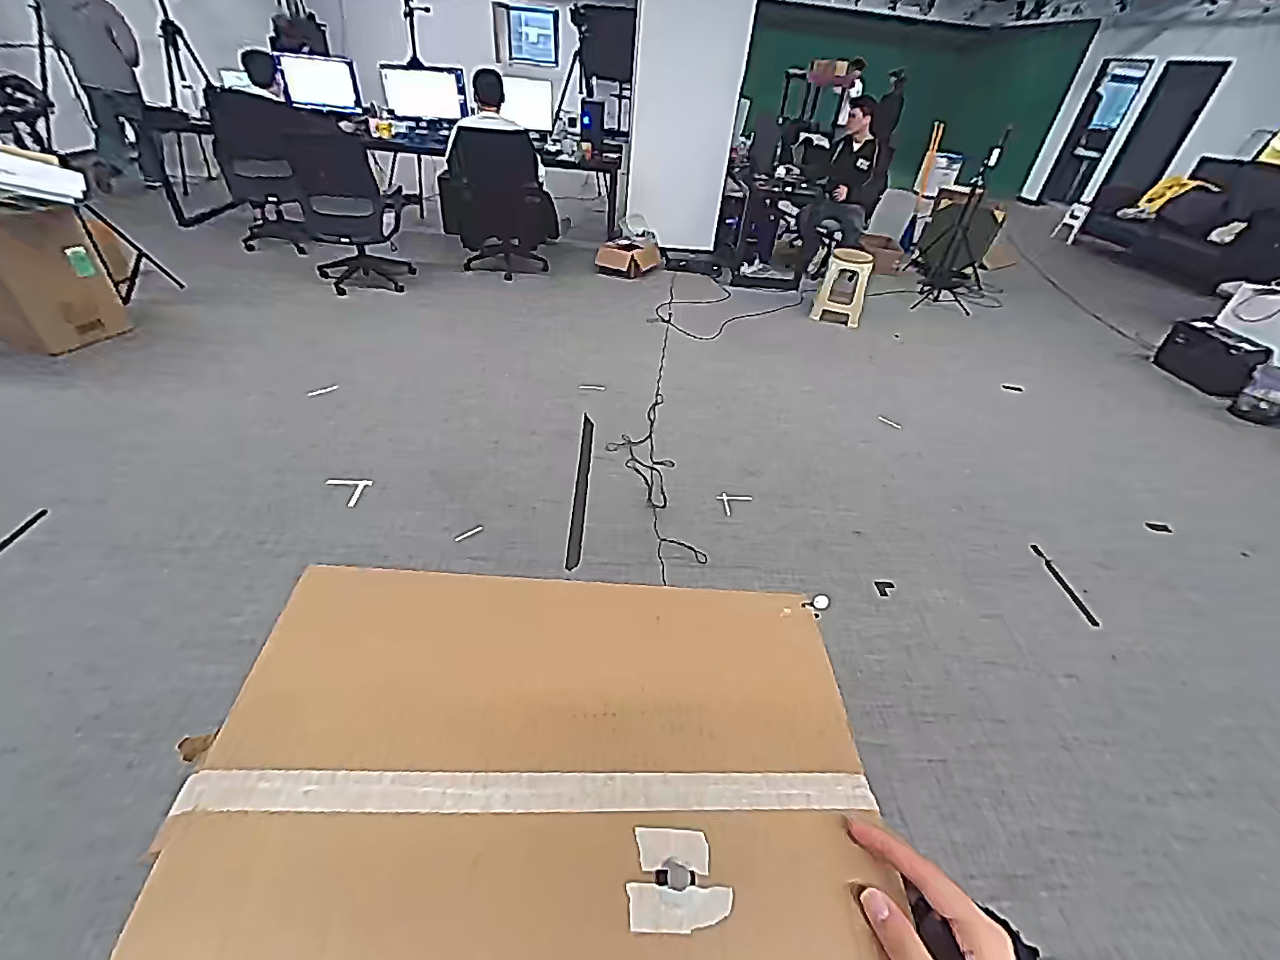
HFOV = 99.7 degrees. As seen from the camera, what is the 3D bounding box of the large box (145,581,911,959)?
[{"bbox_3d":[-0.071,0.305,0.437,0.408,0.320,0.320,6,44,-8],"label":"large box"}]
